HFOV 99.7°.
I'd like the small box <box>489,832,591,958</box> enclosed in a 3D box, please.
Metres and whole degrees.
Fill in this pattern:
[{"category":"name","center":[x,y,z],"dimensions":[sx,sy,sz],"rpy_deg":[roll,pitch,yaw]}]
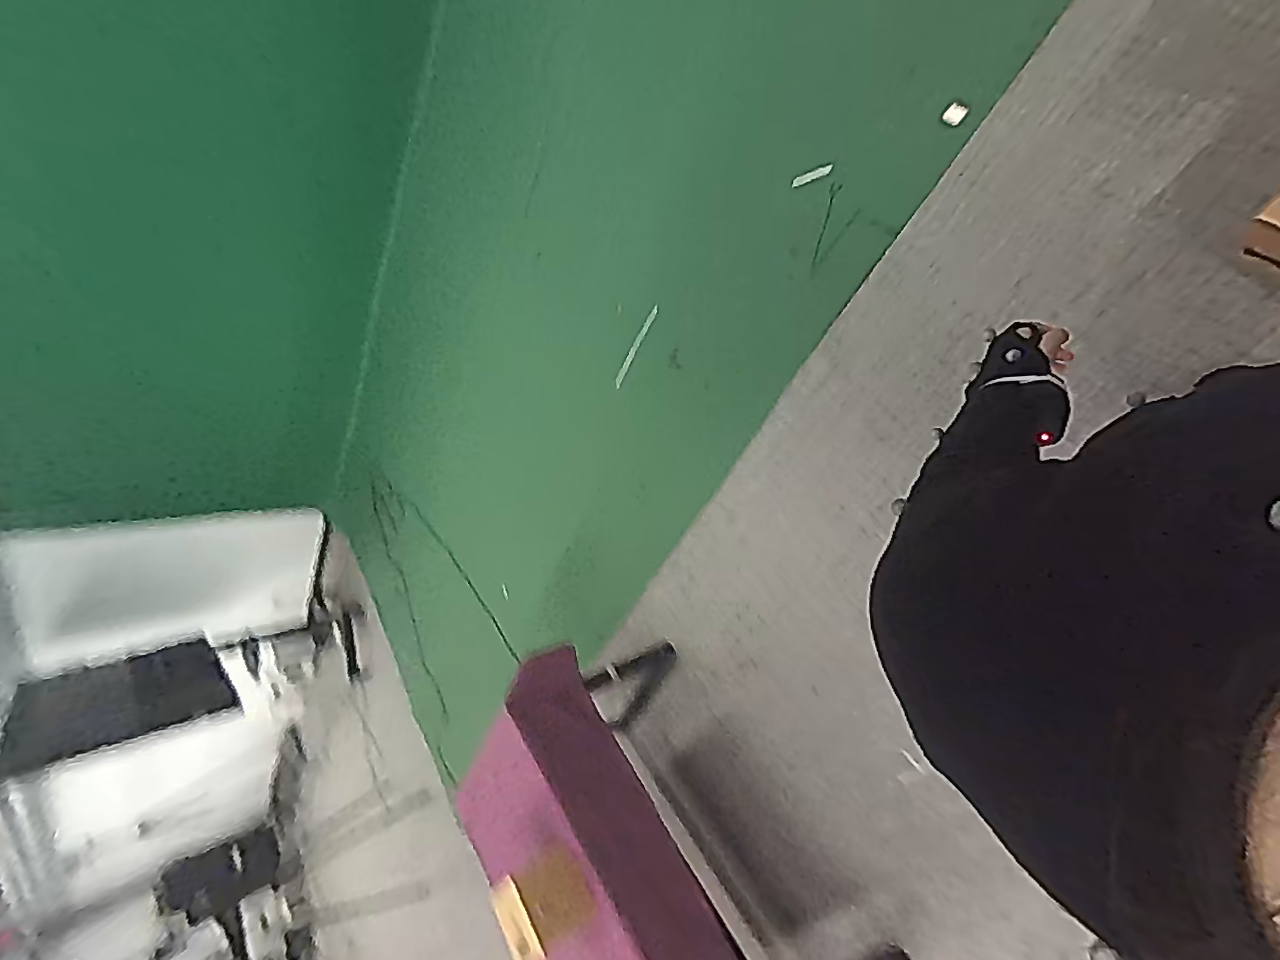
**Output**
[{"category":"small box","center":[-0.253,1.053,1.382],"dimensions":[0.179,0.176,0.168],"rpy_deg":[50,126,30]}]
